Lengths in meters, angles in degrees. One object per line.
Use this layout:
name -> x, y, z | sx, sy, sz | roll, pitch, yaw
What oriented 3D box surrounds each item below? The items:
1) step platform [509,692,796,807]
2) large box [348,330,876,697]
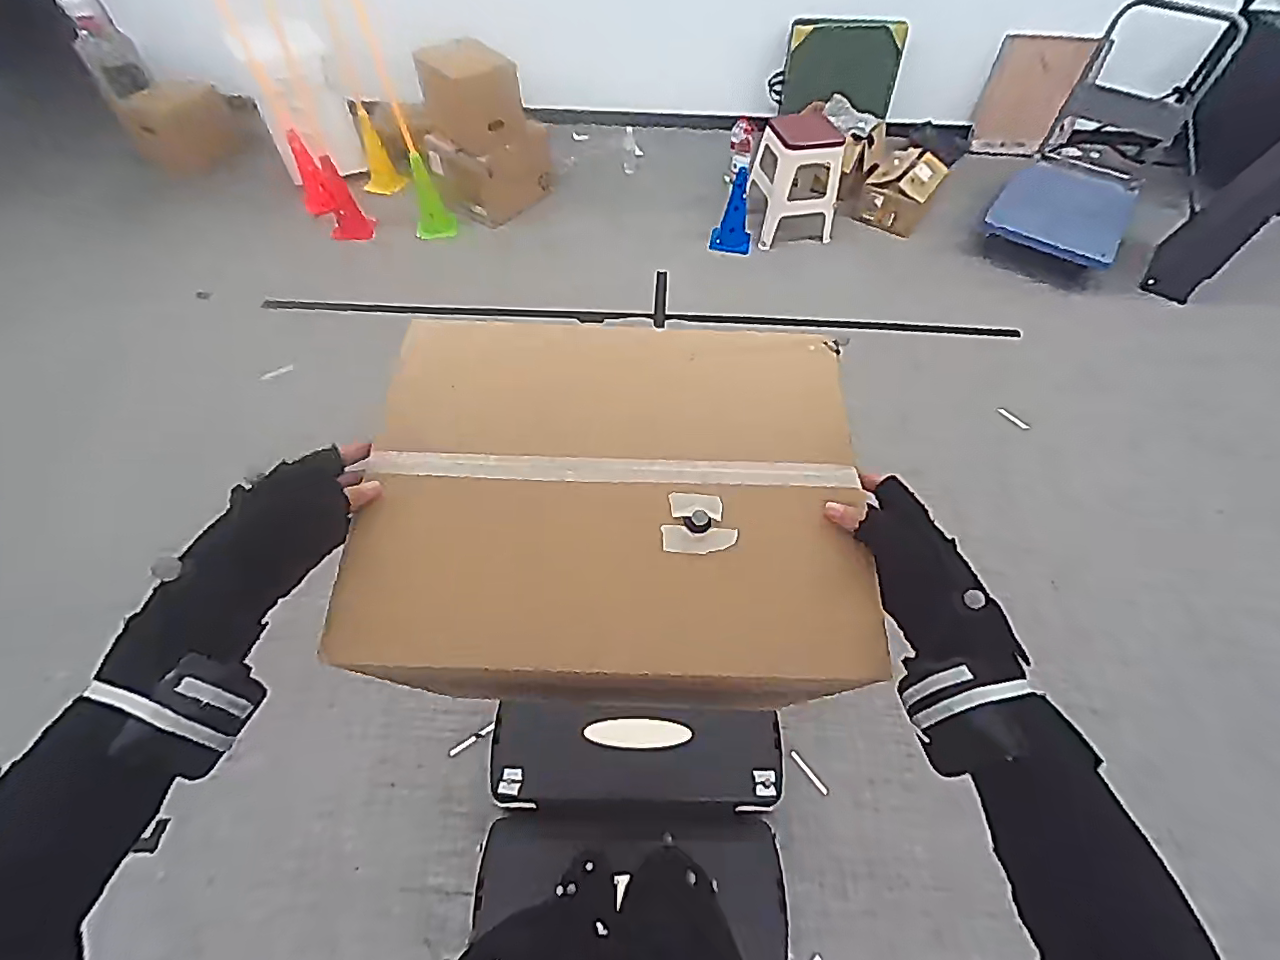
step platform -> 0.028, 0.632, 1.335 | 0.684, 0.204, 0.286 | 2, 55, -2
large box -> -0.022, 0.061, 0.599 | 0.408, 0.320, 0.320 | 2, 64, -1
